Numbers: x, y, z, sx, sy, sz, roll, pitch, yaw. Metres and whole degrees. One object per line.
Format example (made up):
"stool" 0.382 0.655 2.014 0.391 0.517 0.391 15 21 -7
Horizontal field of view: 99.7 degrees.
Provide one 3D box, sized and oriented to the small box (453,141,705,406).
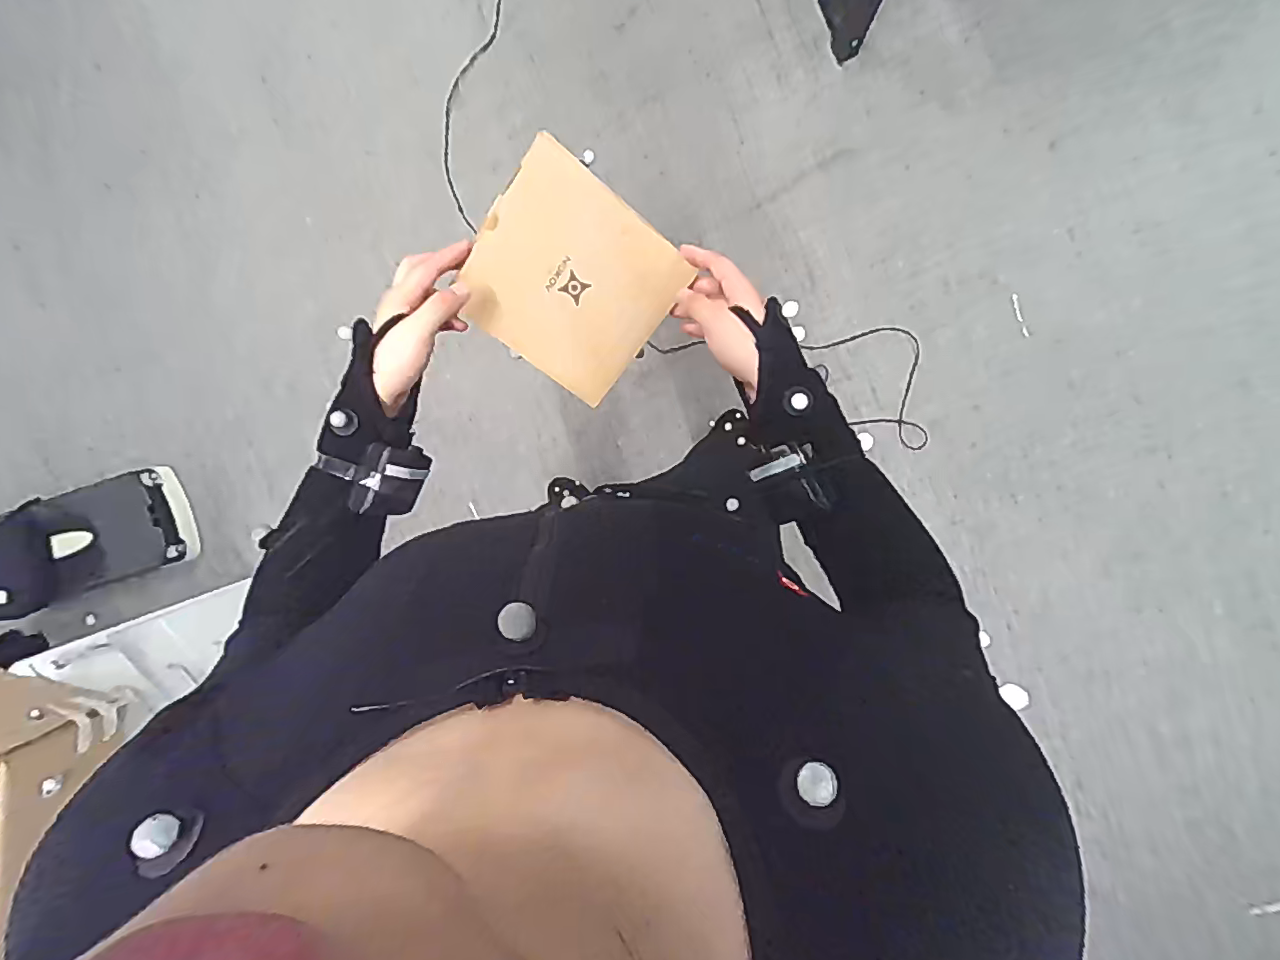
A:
"small box" -0.056 -0.211 0.565 0.179 0.176 0.168 35 109 -15
